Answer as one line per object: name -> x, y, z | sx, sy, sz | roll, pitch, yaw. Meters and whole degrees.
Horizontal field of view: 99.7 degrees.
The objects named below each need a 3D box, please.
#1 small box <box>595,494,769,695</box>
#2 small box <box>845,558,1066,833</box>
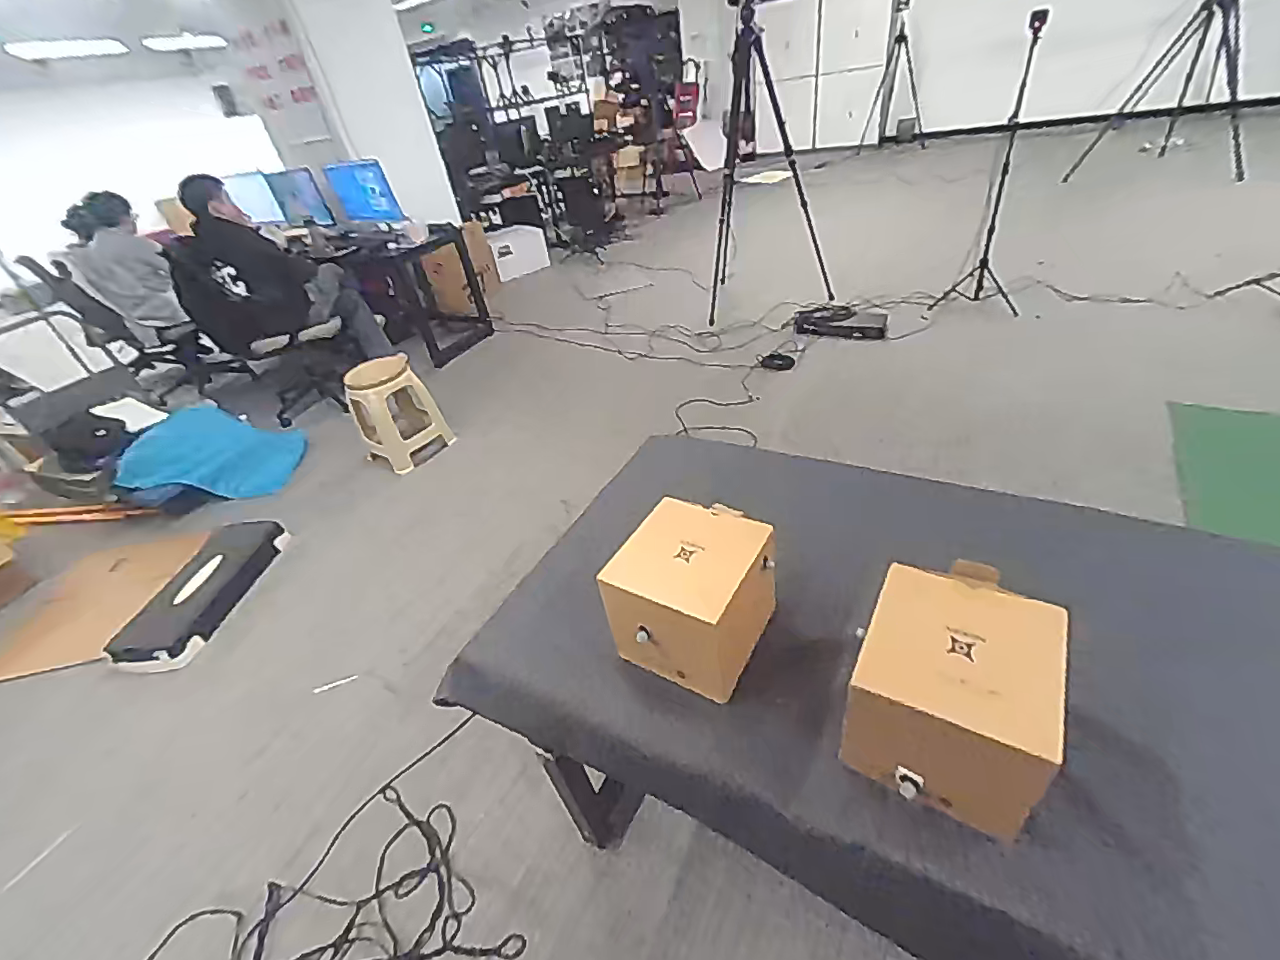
small box -> 0.067, 0.149, 0.722 | 0.168, 0.176, 0.179 | 14, 42, 30
small box -> 0.322, 0.218, 0.569 | 0.168, 0.176, 0.179 | 13, 43, 30
